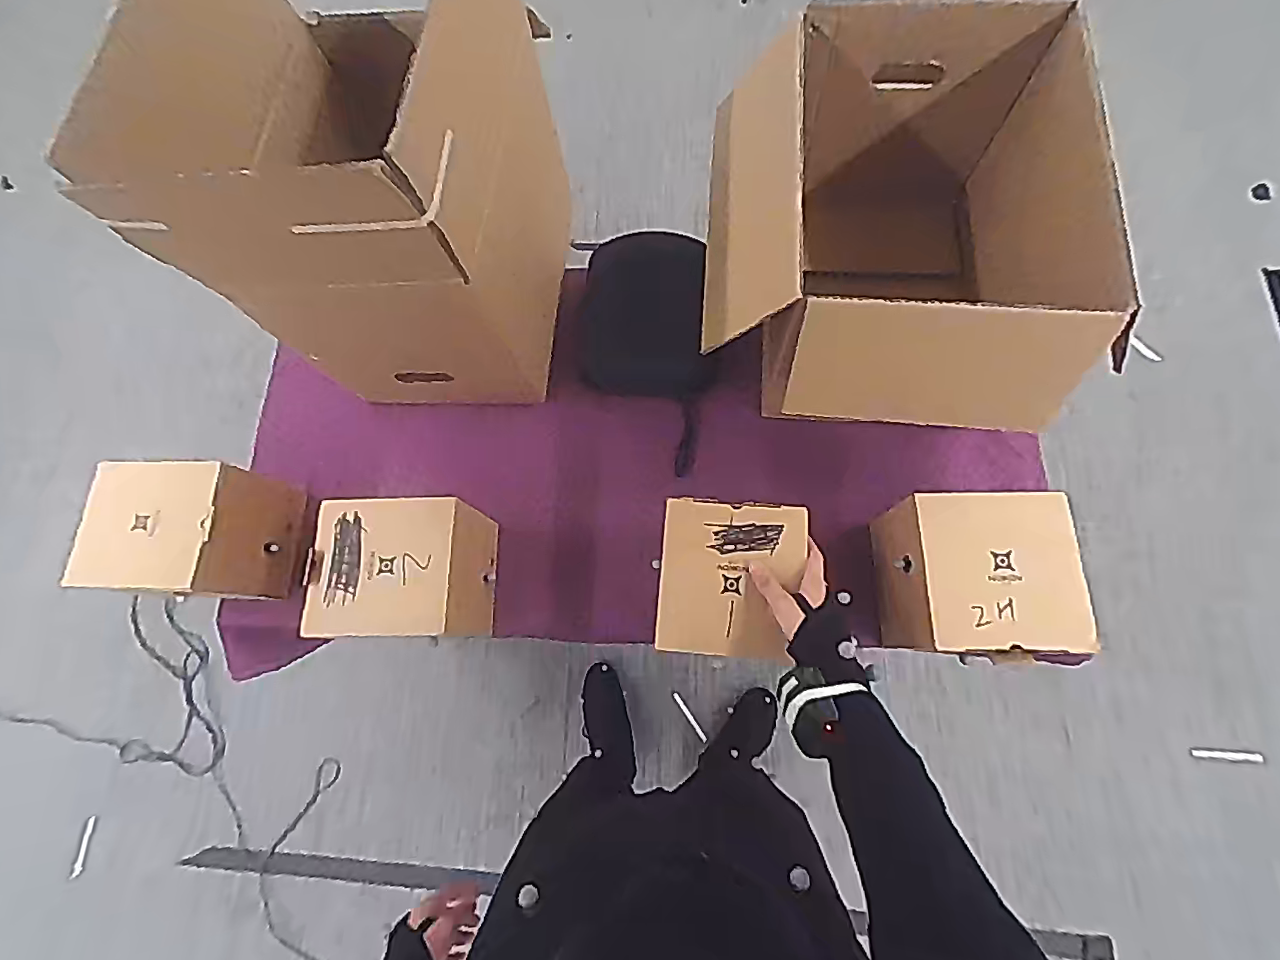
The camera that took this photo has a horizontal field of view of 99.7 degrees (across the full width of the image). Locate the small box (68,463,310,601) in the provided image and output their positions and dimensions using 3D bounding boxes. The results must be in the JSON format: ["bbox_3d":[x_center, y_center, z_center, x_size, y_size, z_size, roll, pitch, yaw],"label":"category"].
[{"bbox_3d":[-0.615,0.080,0.763,0.179,0.176,0.168,1,74,4],"label":"small box"}]

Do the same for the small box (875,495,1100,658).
[{"bbox_3d":[0.403,0.123,0.664,0.168,0.176,0.179,-1,74,6],"label":"small box"}]
